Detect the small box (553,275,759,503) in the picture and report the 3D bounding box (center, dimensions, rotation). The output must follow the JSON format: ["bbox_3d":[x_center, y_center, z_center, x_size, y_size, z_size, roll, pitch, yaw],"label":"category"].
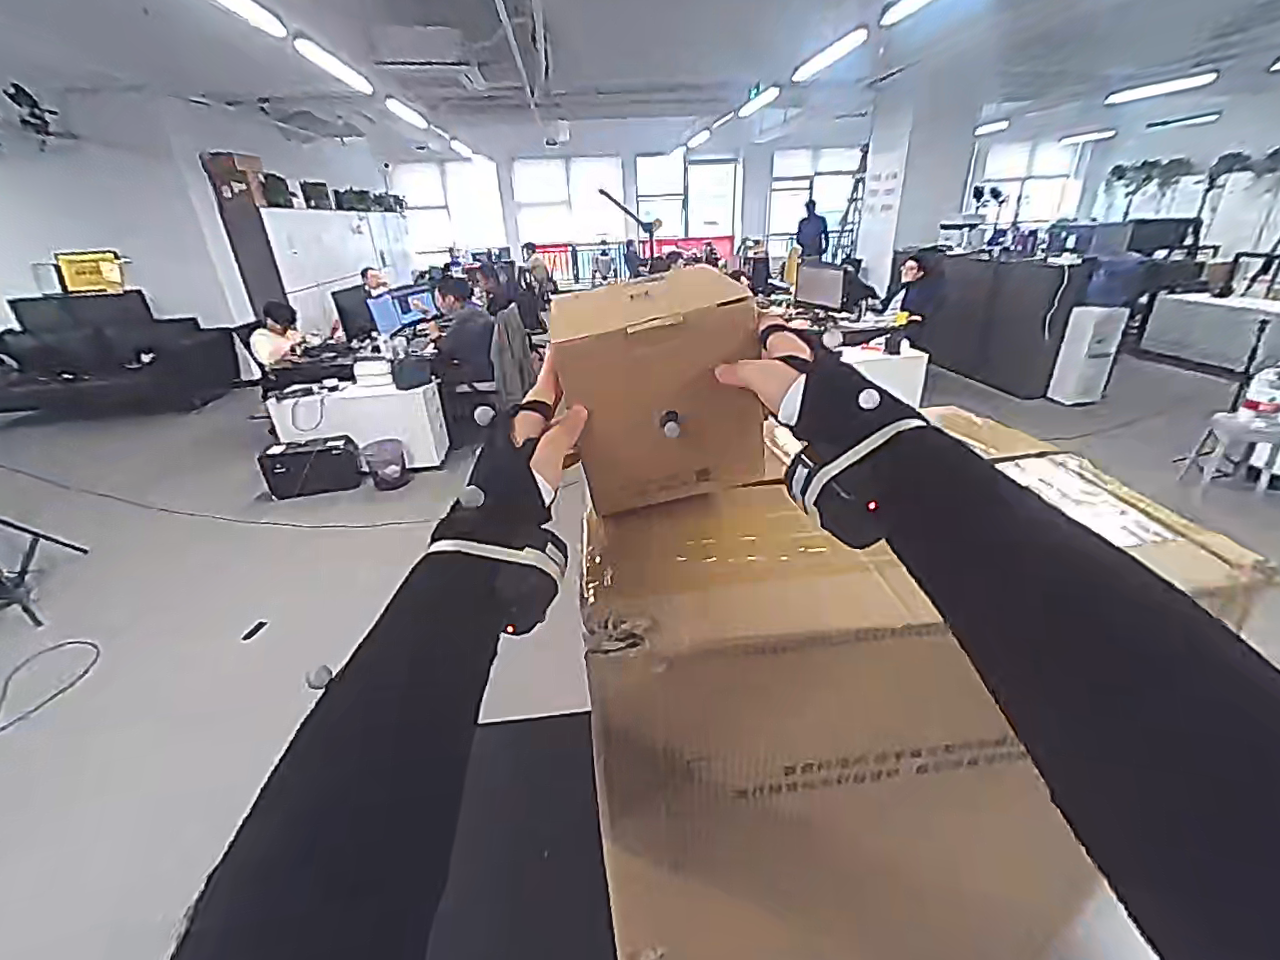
[{"bbox_3d":[0.015,-0.090,0.544,0.168,0.176,0.179,-12,30,-1],"label":"small box"}]
